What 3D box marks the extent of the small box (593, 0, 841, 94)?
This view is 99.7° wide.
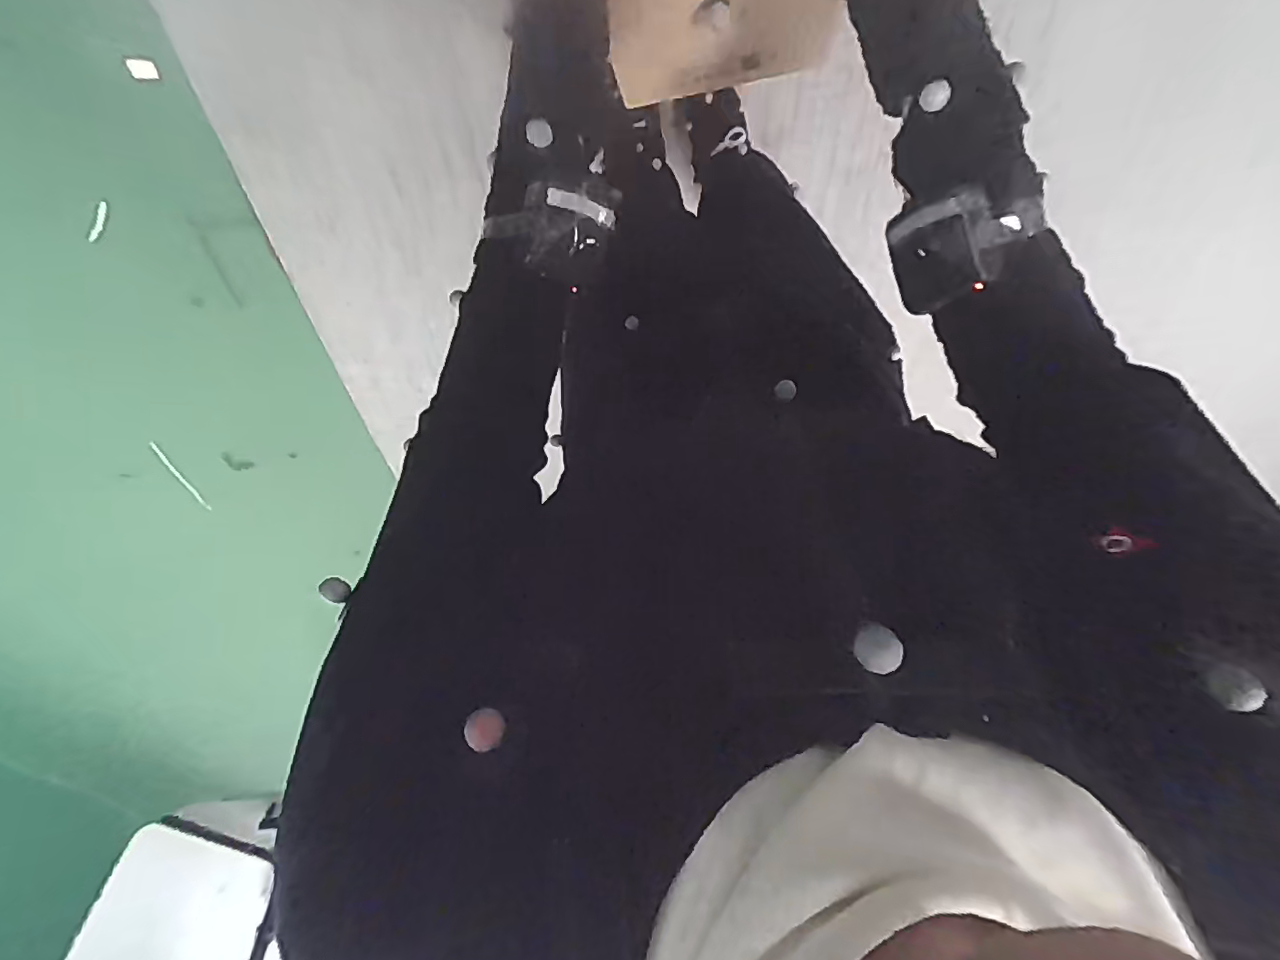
[{"bbox_3d":[0.047,-0.398,0.358,0.168,0.179,0.176,-4,178,13],"label":"small box"}]
